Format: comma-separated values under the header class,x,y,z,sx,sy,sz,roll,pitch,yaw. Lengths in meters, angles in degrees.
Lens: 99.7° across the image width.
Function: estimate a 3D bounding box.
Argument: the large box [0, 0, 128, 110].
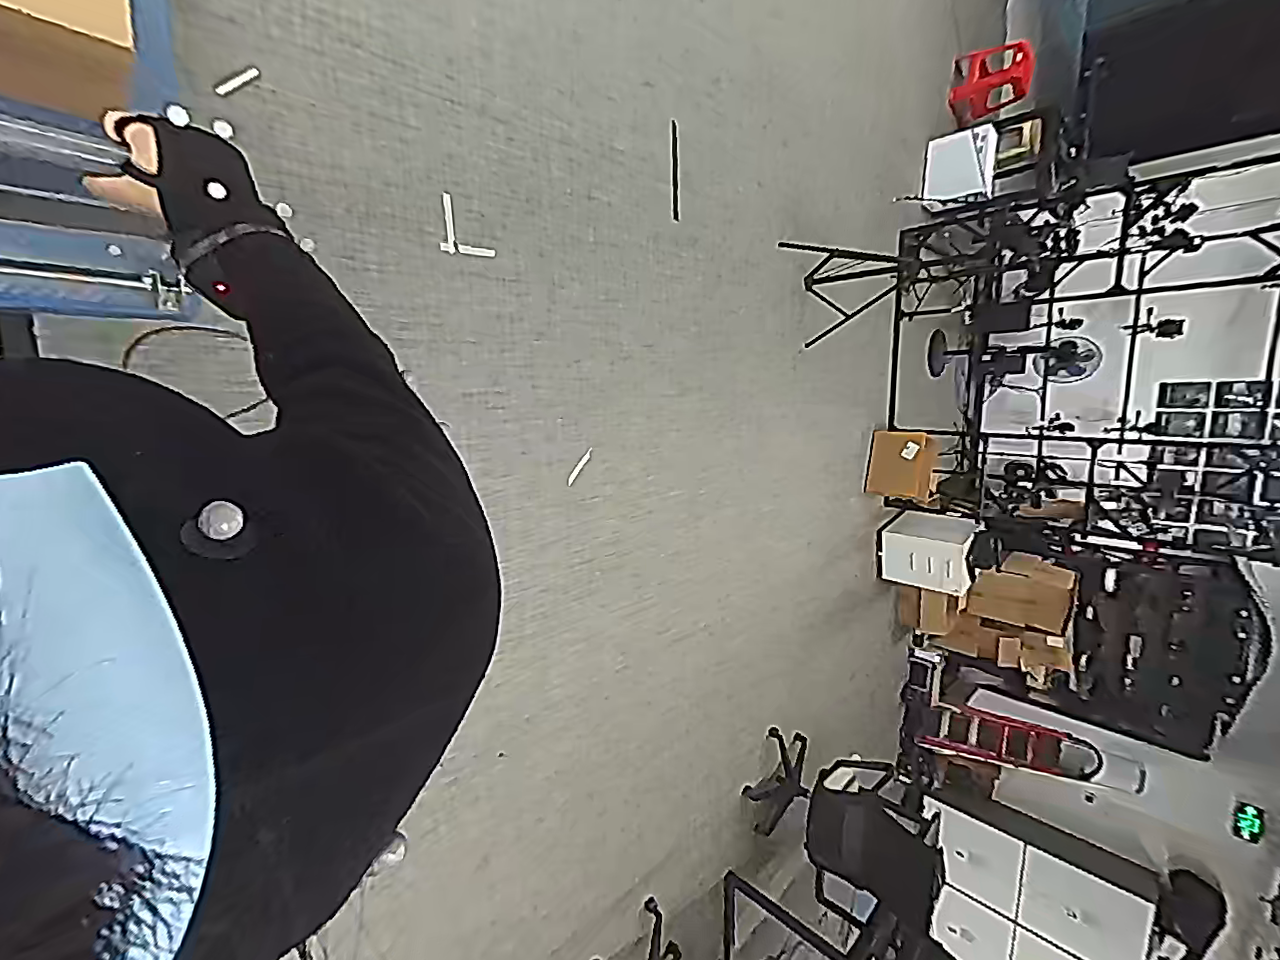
class,x,y,z,sx,sy,sz,roll,pitch,yaw
large box,-0.937,-0.743,0.672,0.408,0.320,0.320,-8,101,-44
